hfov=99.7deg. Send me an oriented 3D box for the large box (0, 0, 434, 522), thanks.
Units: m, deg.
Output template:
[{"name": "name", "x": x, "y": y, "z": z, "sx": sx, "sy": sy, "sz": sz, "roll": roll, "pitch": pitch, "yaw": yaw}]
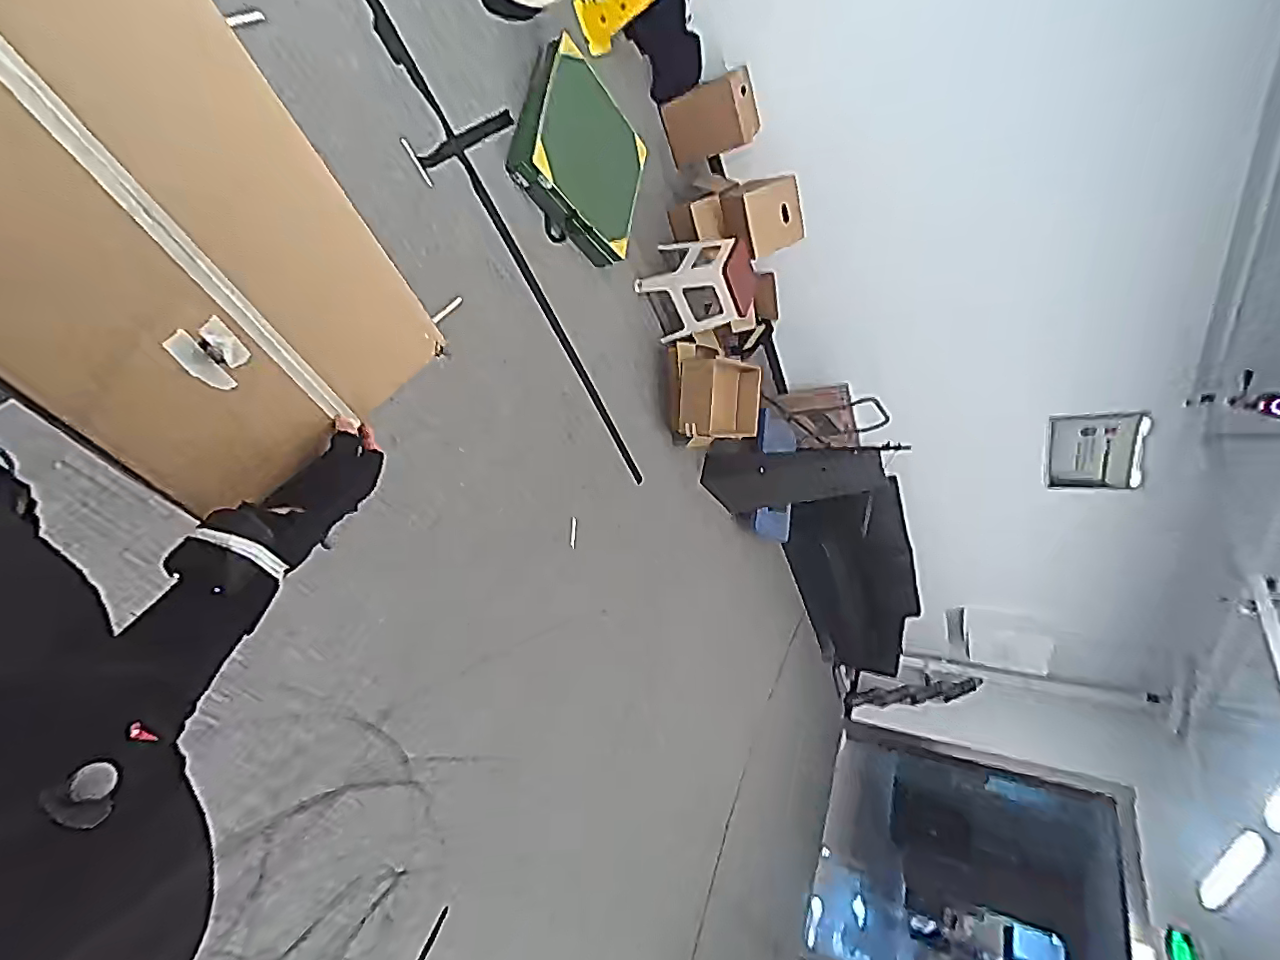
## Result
[{"name": "large box", "x": -0.514, "y": -0.223, "z": 0.550, "sx": 0.320, "sy": 0.320, "sz": 0.408, "roll": -54, "pitch": 140, "yaw": -28}]
